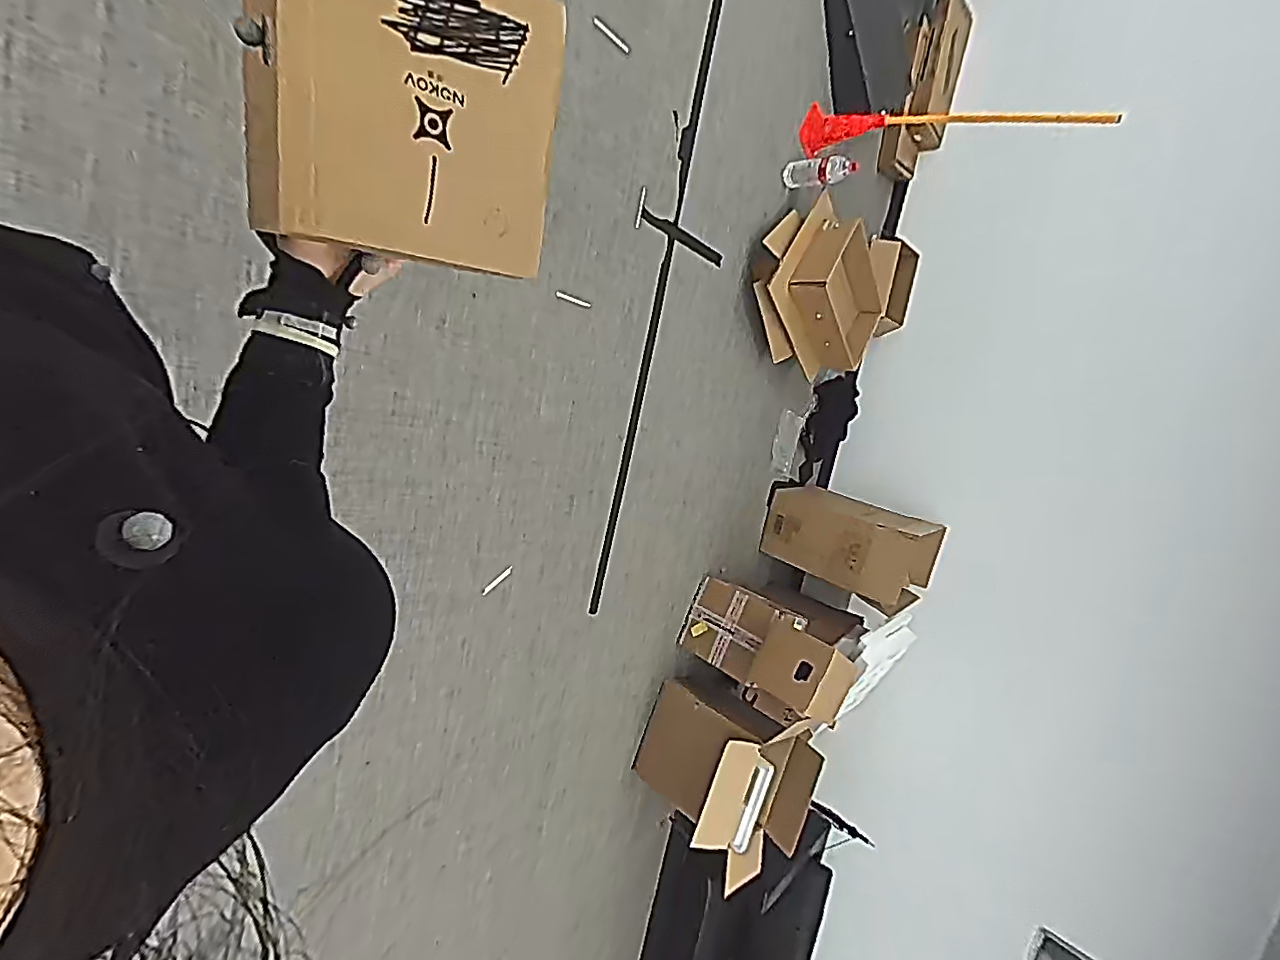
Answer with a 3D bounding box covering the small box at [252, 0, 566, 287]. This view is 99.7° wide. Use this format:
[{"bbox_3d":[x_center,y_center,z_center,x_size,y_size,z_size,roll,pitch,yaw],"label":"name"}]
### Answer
[{"bbox_3d":[-0.177,-0.253,0.399,0.168,0.176,0.179,-4,112,-40],"label":"small box"}]
